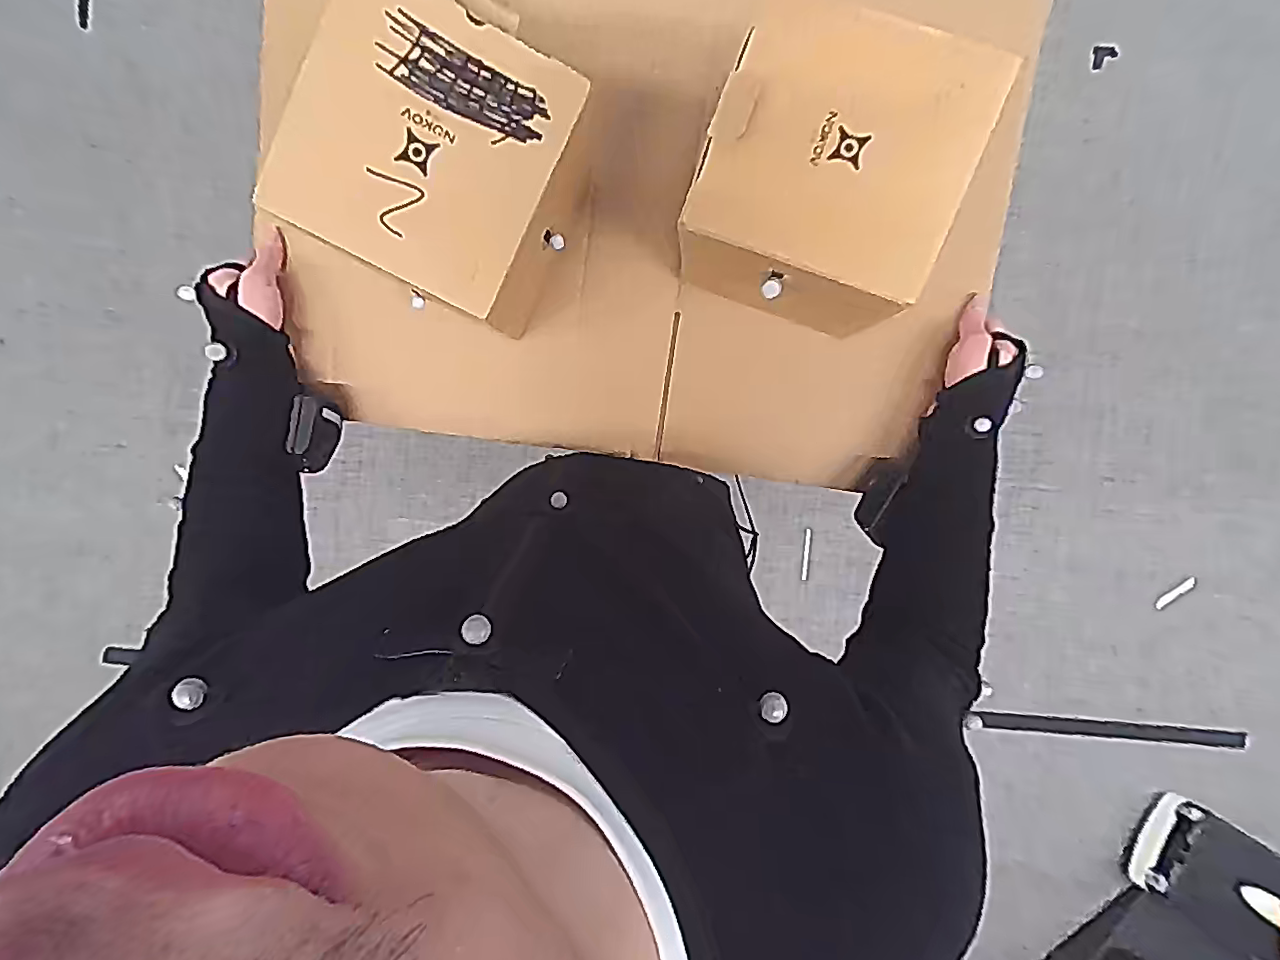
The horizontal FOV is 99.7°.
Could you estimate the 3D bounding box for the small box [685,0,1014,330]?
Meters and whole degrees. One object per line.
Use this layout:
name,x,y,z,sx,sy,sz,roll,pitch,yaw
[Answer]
small box,0.150,-0.236,0.454,0.179,0.176,0.168,21,99,4
